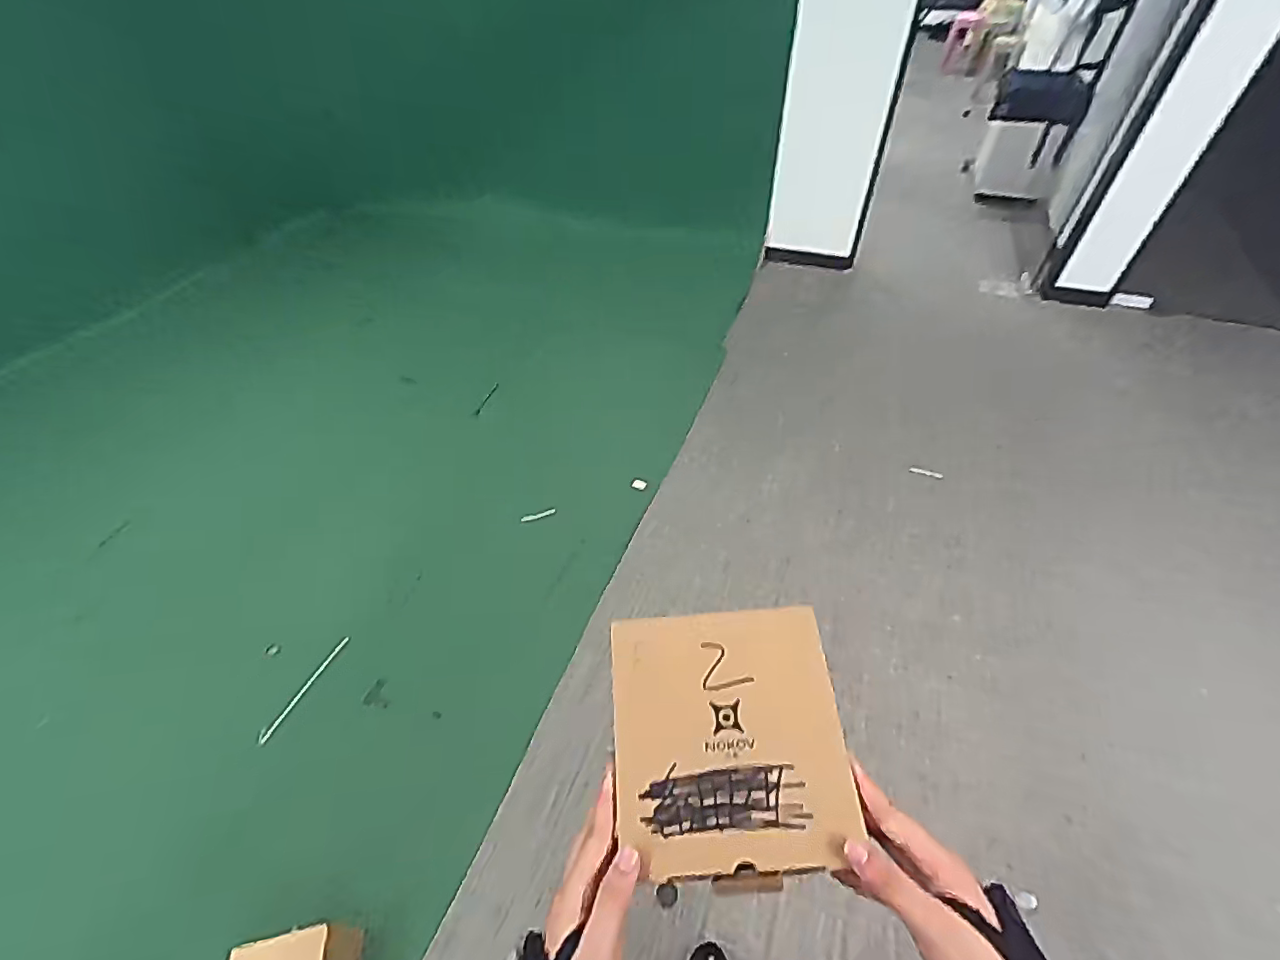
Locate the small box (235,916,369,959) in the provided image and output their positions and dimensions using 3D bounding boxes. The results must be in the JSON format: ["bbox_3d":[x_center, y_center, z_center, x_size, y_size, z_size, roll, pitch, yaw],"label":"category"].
[{"bbox_3d":[-0.646,0.962,1.028,0.179,0.176,0.168,-11,49,-8],"label":"small box"}]
